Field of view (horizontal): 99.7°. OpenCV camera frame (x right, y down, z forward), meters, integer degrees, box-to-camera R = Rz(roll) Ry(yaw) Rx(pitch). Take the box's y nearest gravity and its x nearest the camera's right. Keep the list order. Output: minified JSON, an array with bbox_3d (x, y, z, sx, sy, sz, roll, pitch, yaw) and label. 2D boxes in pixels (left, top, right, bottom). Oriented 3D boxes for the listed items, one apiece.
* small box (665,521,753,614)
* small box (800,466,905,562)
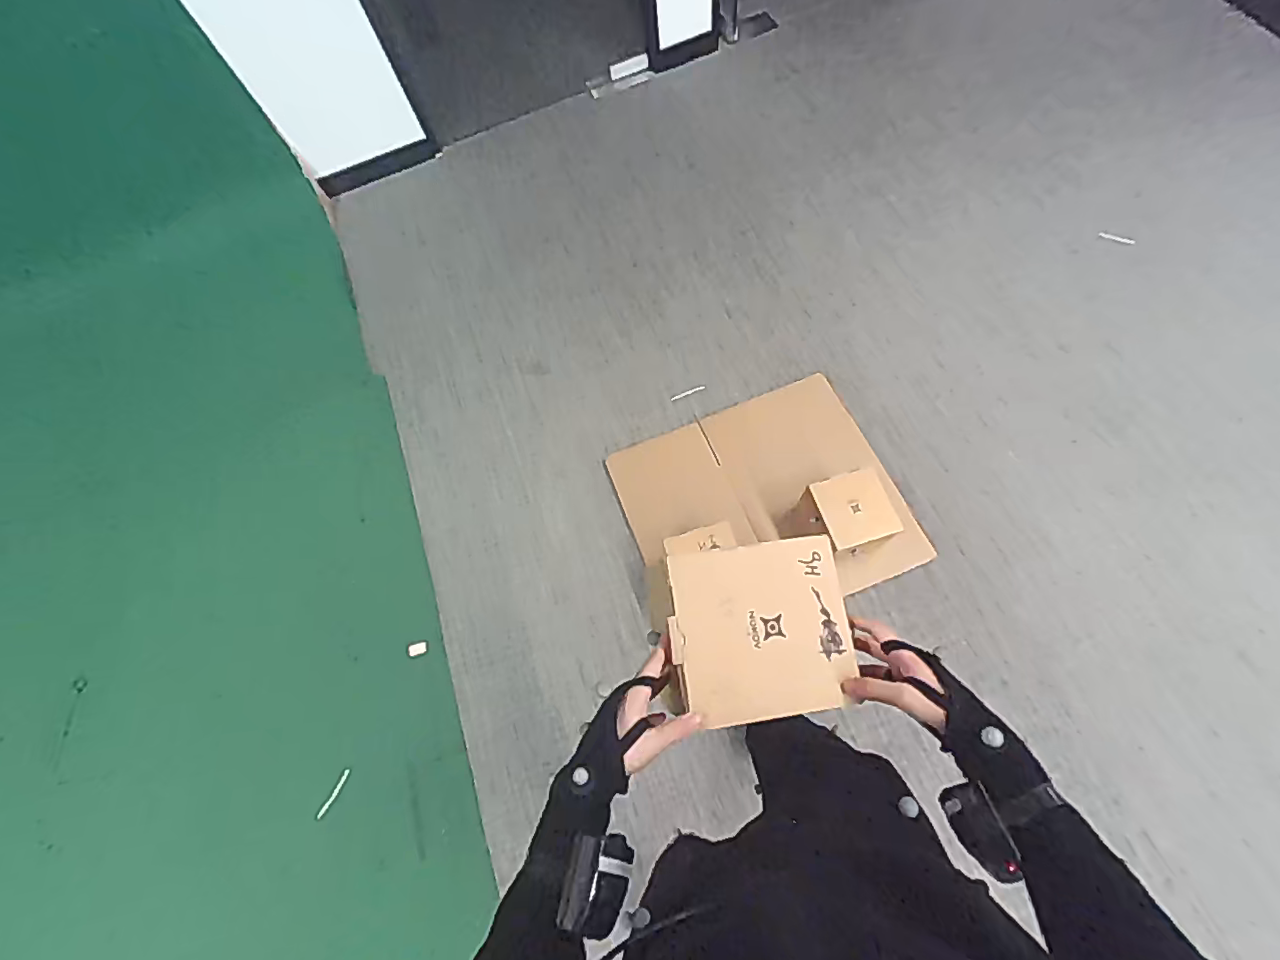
[{"bbox_3d":[0.167,0.223,1.324,0.168,0.176,0.179,-16,67,-1],"label":"small box"},{"bbox_3d":[0.514,0.093,1.336,0.168,0.176,0.179,-18,67,-1],"label":"small box"}]
